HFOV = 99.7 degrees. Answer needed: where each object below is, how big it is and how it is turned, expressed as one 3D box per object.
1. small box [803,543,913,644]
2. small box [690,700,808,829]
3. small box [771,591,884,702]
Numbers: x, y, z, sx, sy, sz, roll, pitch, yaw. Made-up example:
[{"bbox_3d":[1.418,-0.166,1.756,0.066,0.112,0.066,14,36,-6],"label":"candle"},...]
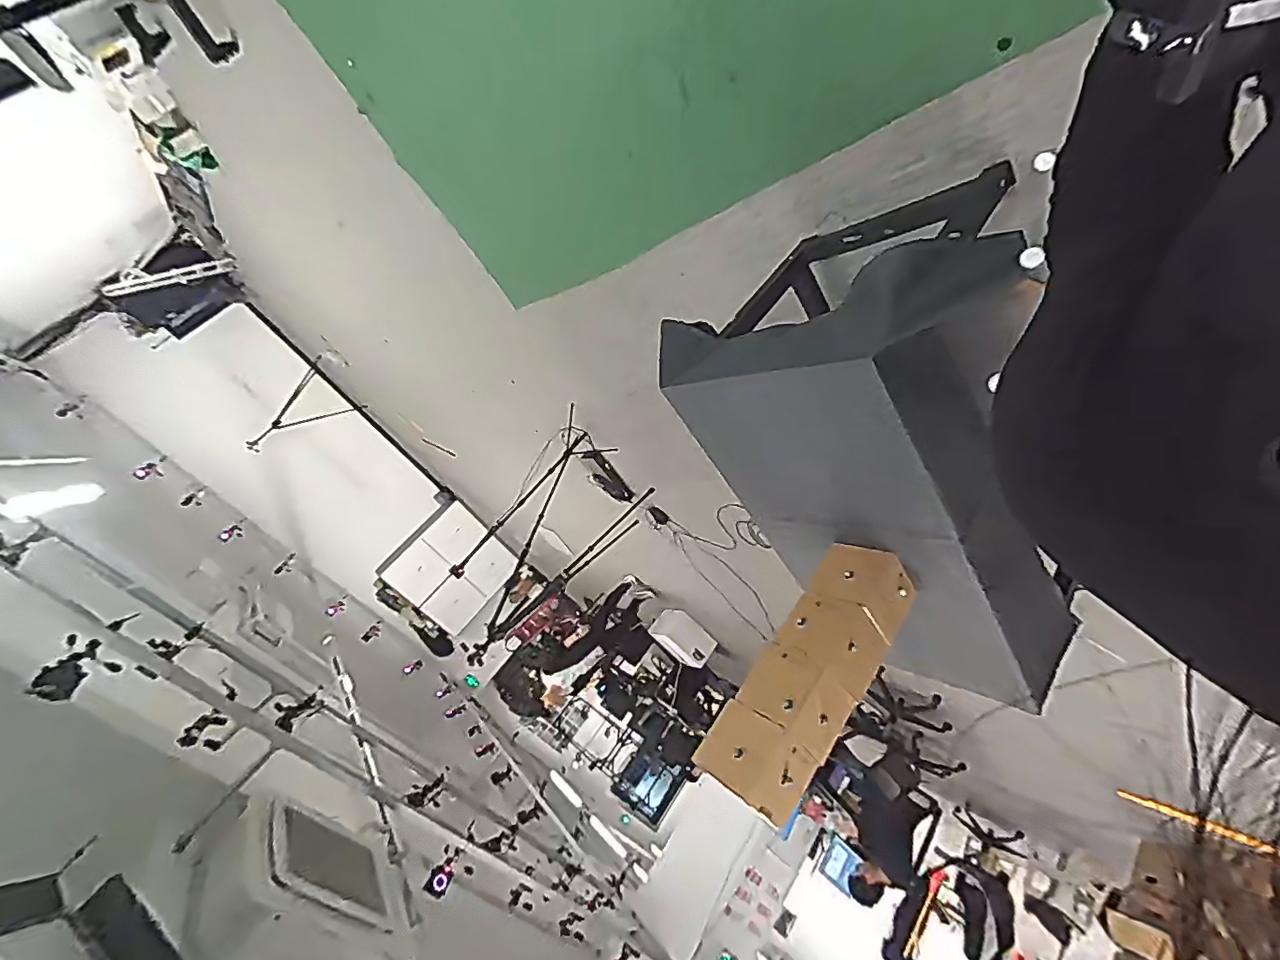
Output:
[{"bbox_3d":[0.558,0.281,1.378,0.179,0.176,0.168,5,140,54],"label":"small box"},{"bbox_3d":[0.252,0.630,1.220,0.168,0.176,0.179,51,156,-25],"label":"small box"},{"bbox_3d":[0.460,0.398,1.322,0.179,0.176,0.168,51,157,-24],"label":"small box"}]
